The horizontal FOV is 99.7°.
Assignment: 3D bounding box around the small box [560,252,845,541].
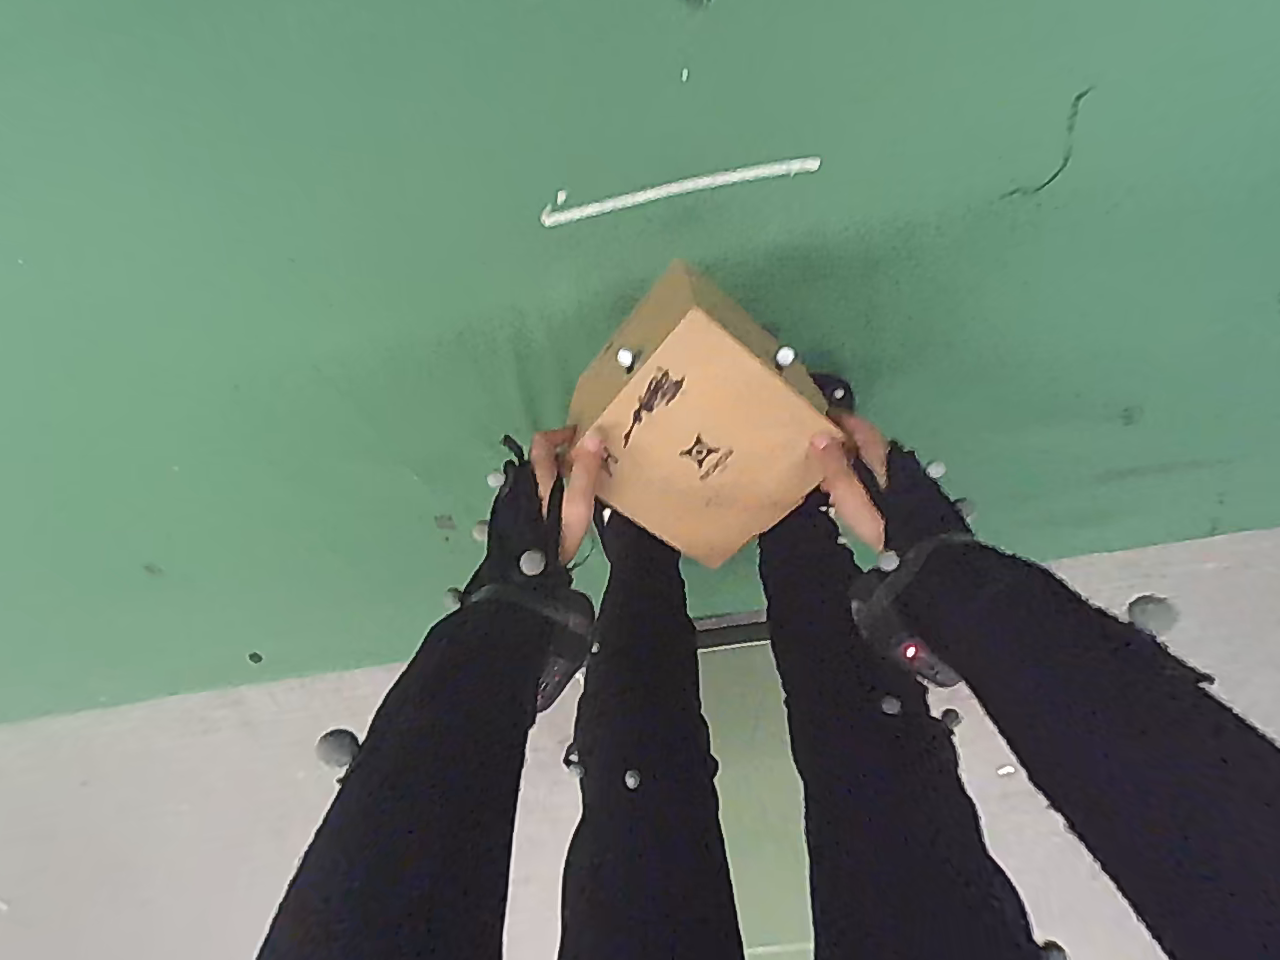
[{"bbox_3d":[0.050,-0.082,0.502,0.179,0.176,0.168,34,117,-22],"label":"small box"}]
